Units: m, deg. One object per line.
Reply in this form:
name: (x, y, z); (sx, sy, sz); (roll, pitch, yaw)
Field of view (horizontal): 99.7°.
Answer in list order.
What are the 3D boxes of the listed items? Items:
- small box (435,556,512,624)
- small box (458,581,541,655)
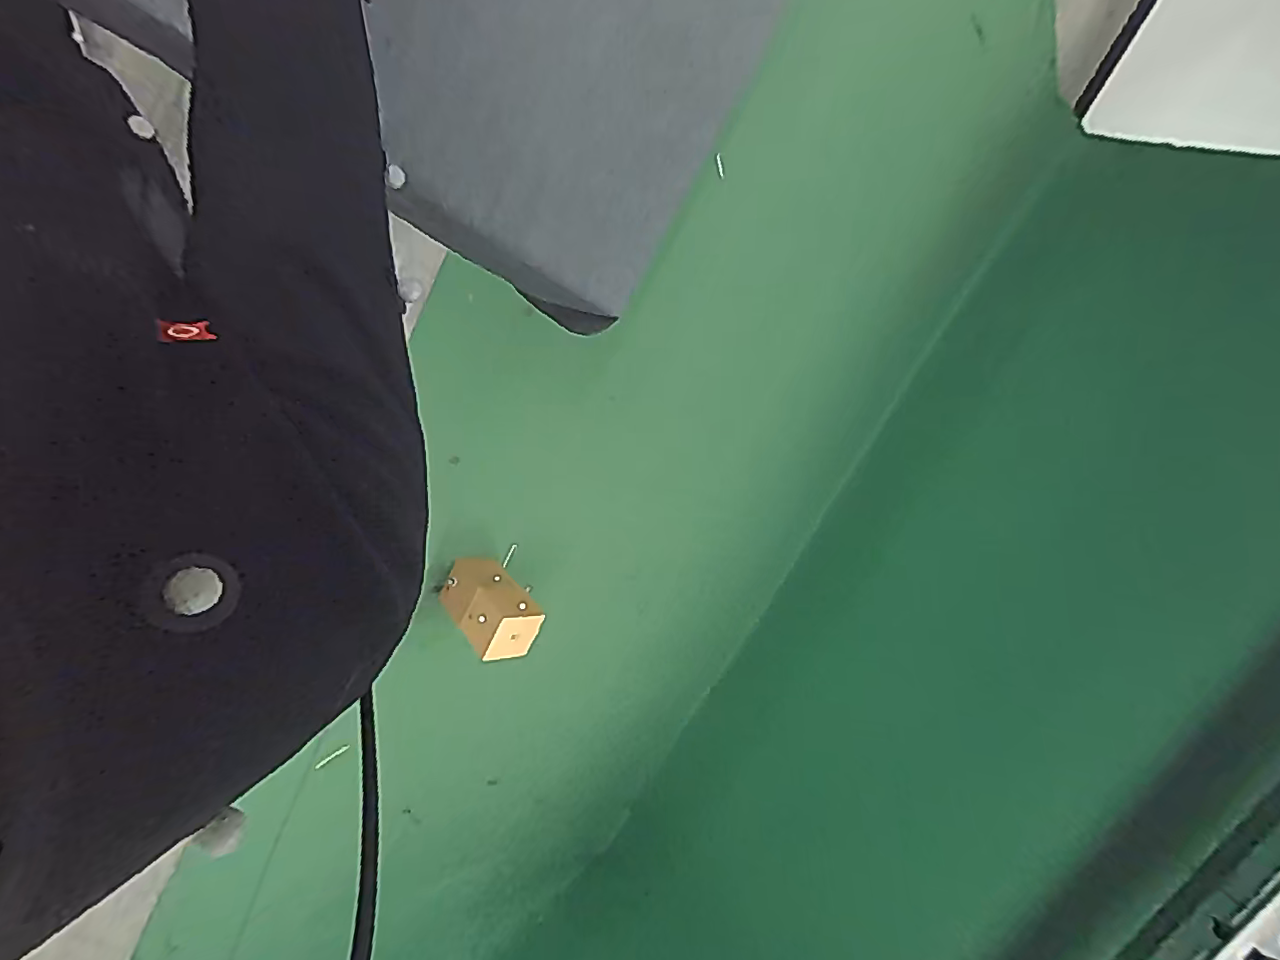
small box: (-0.571, 0.375, 1.867); (0.179, 0.176, 0.168); (14, 107, -51)
small box: (-0.464, 0.445, 1.765); (0.179, 0.176, 0.168); (12, 109, -52)
